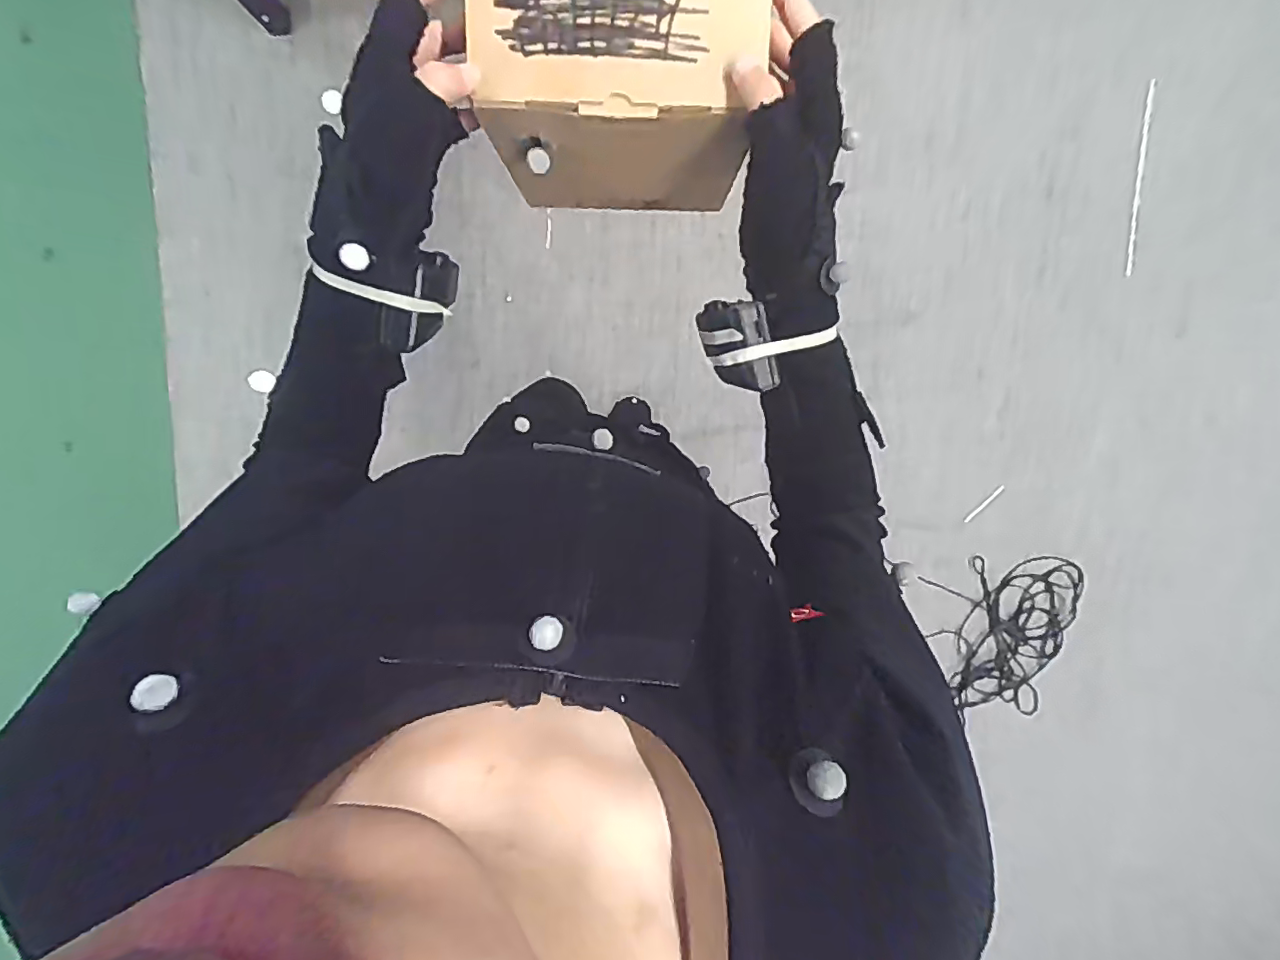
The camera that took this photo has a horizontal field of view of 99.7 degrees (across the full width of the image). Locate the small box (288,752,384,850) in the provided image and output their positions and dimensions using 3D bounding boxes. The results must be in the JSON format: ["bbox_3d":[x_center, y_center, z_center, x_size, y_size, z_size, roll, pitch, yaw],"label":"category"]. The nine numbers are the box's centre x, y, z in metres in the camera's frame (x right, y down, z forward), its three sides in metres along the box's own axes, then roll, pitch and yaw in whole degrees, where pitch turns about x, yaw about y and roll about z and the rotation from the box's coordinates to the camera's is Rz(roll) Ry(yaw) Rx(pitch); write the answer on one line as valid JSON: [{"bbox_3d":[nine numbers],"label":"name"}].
[{"bbox_3d":[-0.830,0.876,1.492,0.168,0.176,0.179,-3,98,0],"label":"small box"}]
